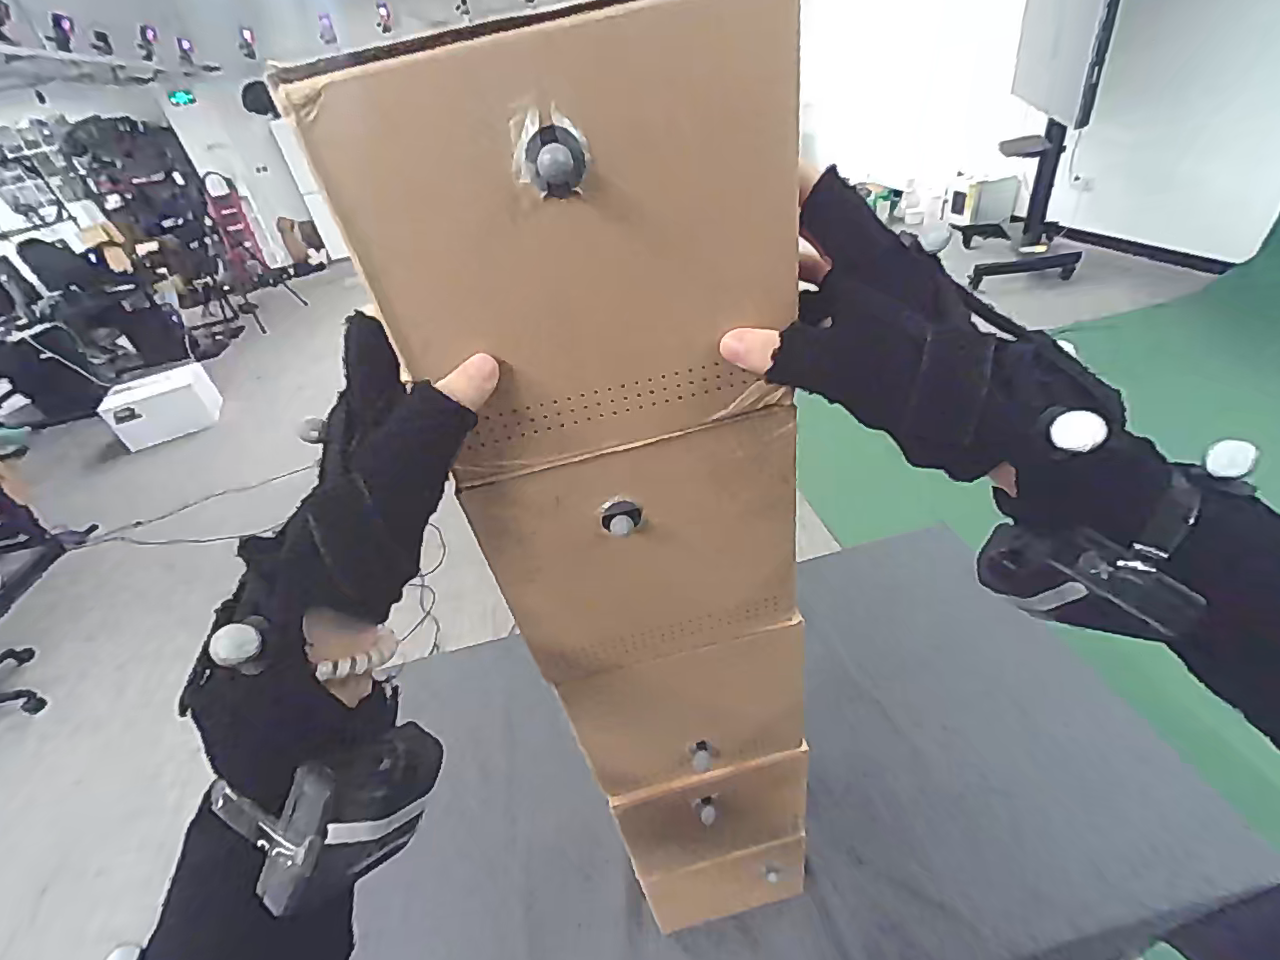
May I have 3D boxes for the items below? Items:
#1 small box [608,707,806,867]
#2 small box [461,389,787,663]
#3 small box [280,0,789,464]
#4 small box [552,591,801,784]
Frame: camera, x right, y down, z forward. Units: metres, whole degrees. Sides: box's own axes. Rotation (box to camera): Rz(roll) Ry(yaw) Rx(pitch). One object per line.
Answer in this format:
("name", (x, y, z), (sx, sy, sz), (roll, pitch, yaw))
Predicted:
("small box", (0.056, 0.266, 0.567), (0.179, 0.176, 0.168), (-14, 36, -4))
("small box", (-0.006, 0.002, 0.382), (0.179, 0.176, 0.168), (-14, 37, -3))
("small box", (-0.030, -0.128, 0.286), (0.179, 0.176, 0.168), (-13, 37, -1))
("small box", (0.025, 0.133, 0.476), (0.179, 0.176, 0.168), (-12, 35, -2))
